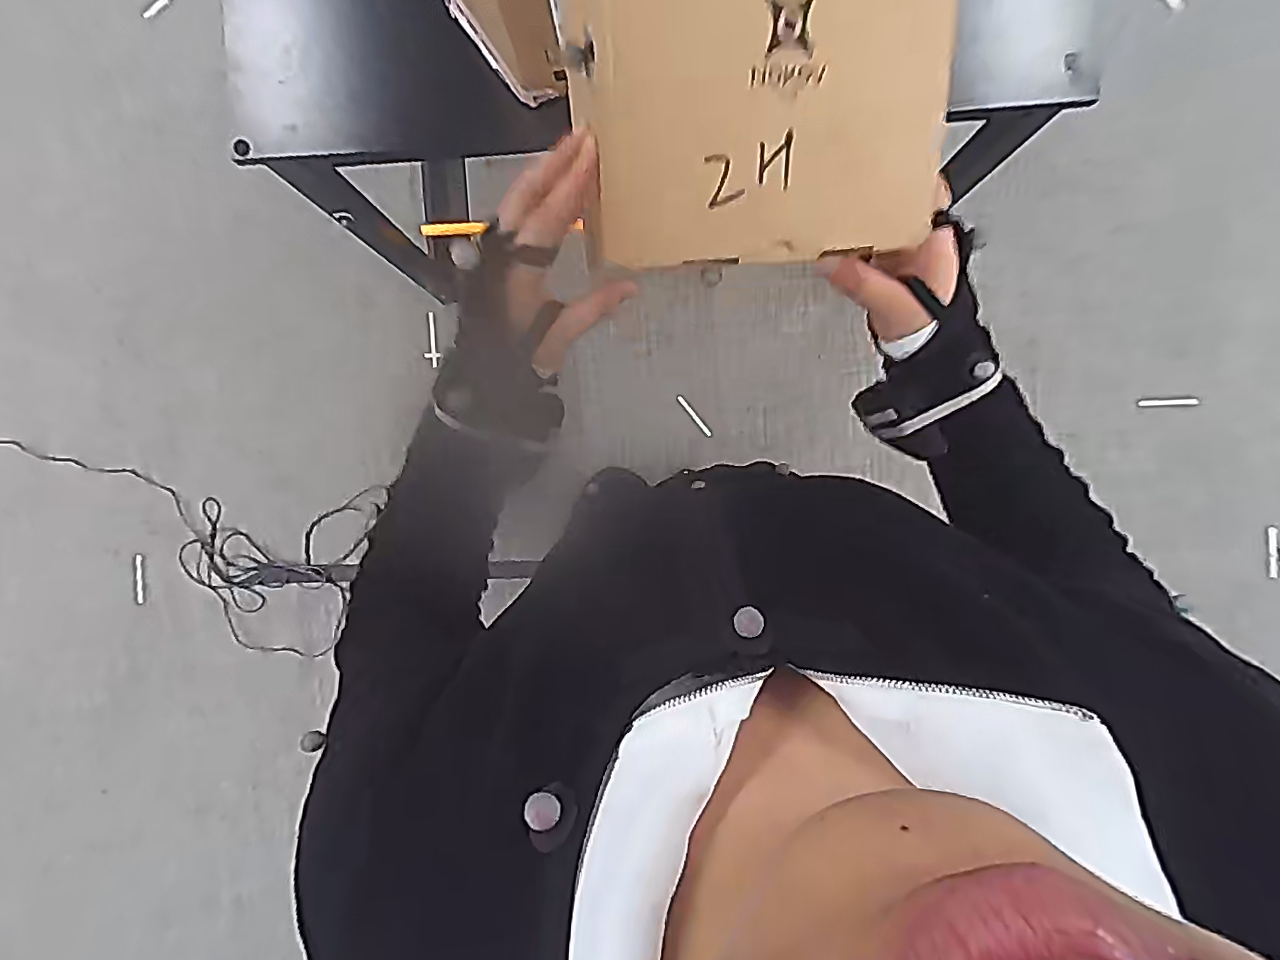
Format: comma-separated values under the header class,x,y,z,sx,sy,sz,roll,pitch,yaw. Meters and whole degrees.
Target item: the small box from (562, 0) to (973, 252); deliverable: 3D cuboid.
class,x,y,z,sx,sy,sz,roll,pitch,yaw
small box,0.050,-0.226,0.297,0.168,0.176,0.179,-8,114,-8
